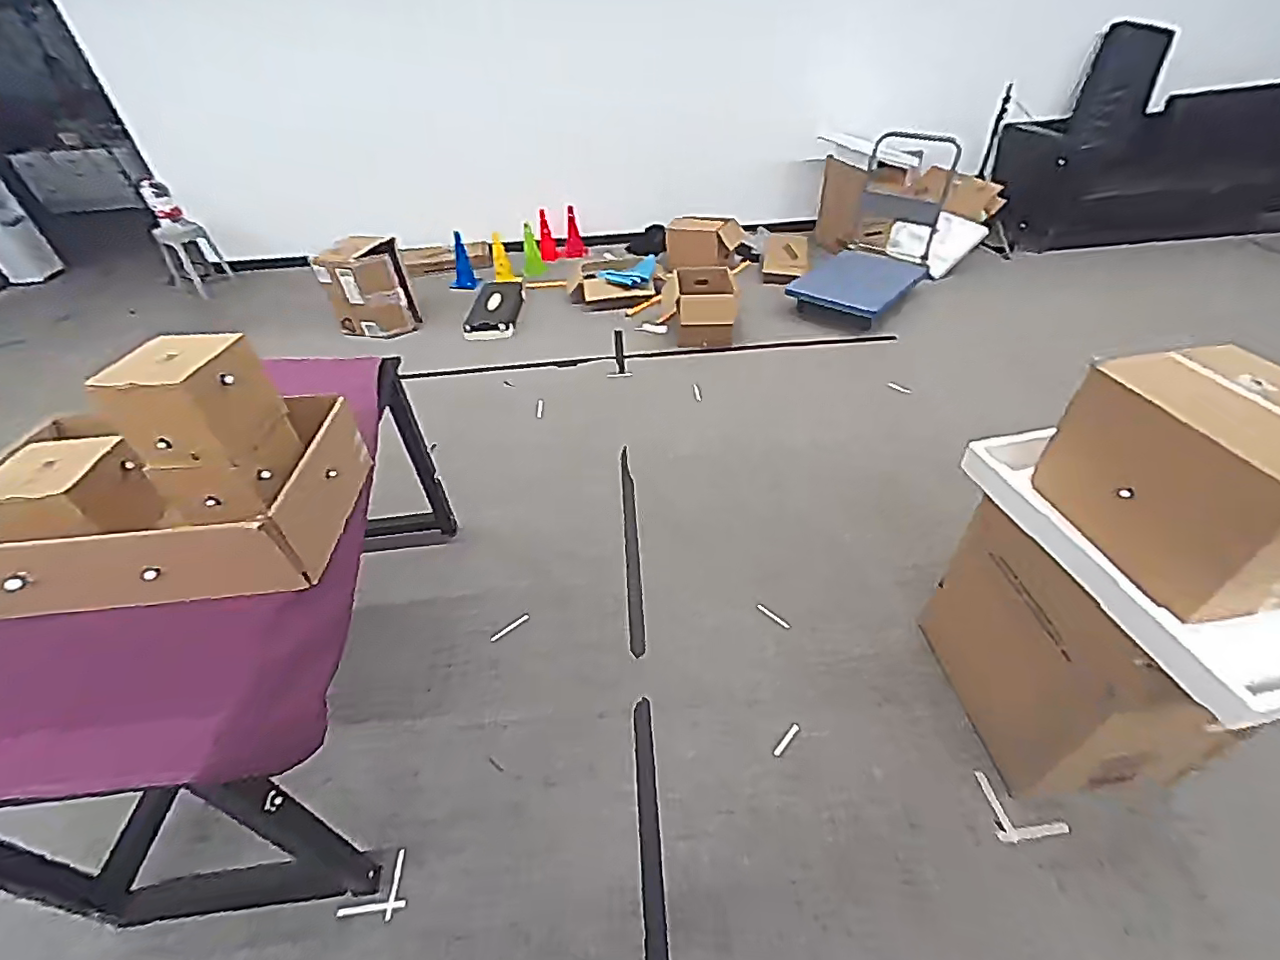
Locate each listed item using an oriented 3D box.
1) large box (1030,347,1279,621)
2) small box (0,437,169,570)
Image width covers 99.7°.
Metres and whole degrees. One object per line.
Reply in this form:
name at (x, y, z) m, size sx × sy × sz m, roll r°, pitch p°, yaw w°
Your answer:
large box at (1.063, -0.007, 1.014) m, size 0.320 × 0.320 × 0.408 m, roll -7°, pitch 40°, yaw -5°
small box at (-1.040, 0.043, 1.008) m, size 0.168 × 0.176 × 0.179 m, roll -7°, pitch 41°, yaw -5°
